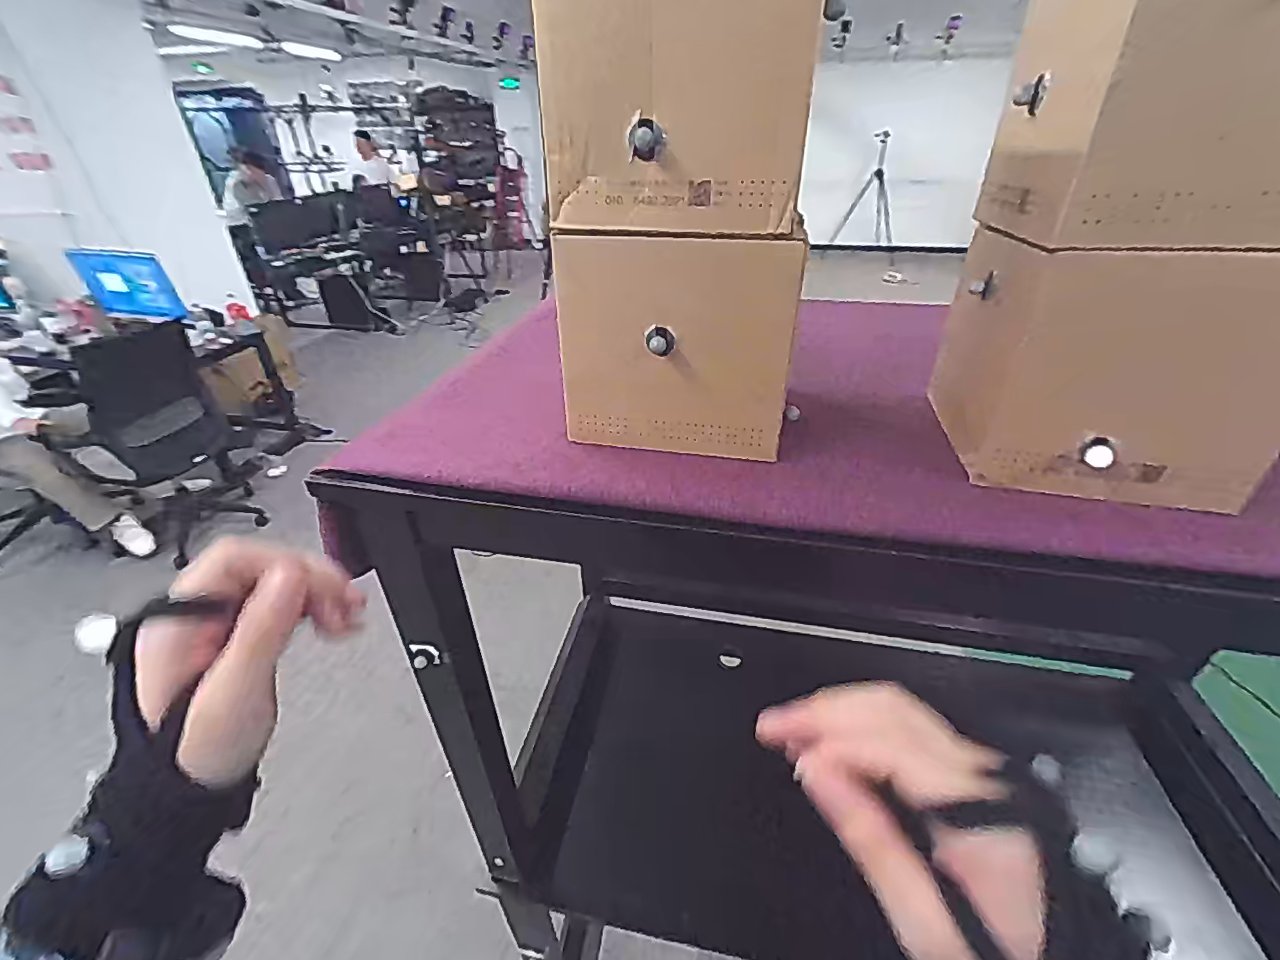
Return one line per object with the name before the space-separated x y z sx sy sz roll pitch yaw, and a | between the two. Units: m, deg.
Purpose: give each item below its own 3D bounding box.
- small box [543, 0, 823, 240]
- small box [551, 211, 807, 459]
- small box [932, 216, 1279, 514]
small box | 0.035 -0.274 0.390 0.168 0.176 0.179 6 32 11
small box | 0.040 -0.131 0.468 0.179 0.176 0.168 5 32 11
small box | 0.340 -0.097 0.409 0.168 0.176 0.179 6 33 13
